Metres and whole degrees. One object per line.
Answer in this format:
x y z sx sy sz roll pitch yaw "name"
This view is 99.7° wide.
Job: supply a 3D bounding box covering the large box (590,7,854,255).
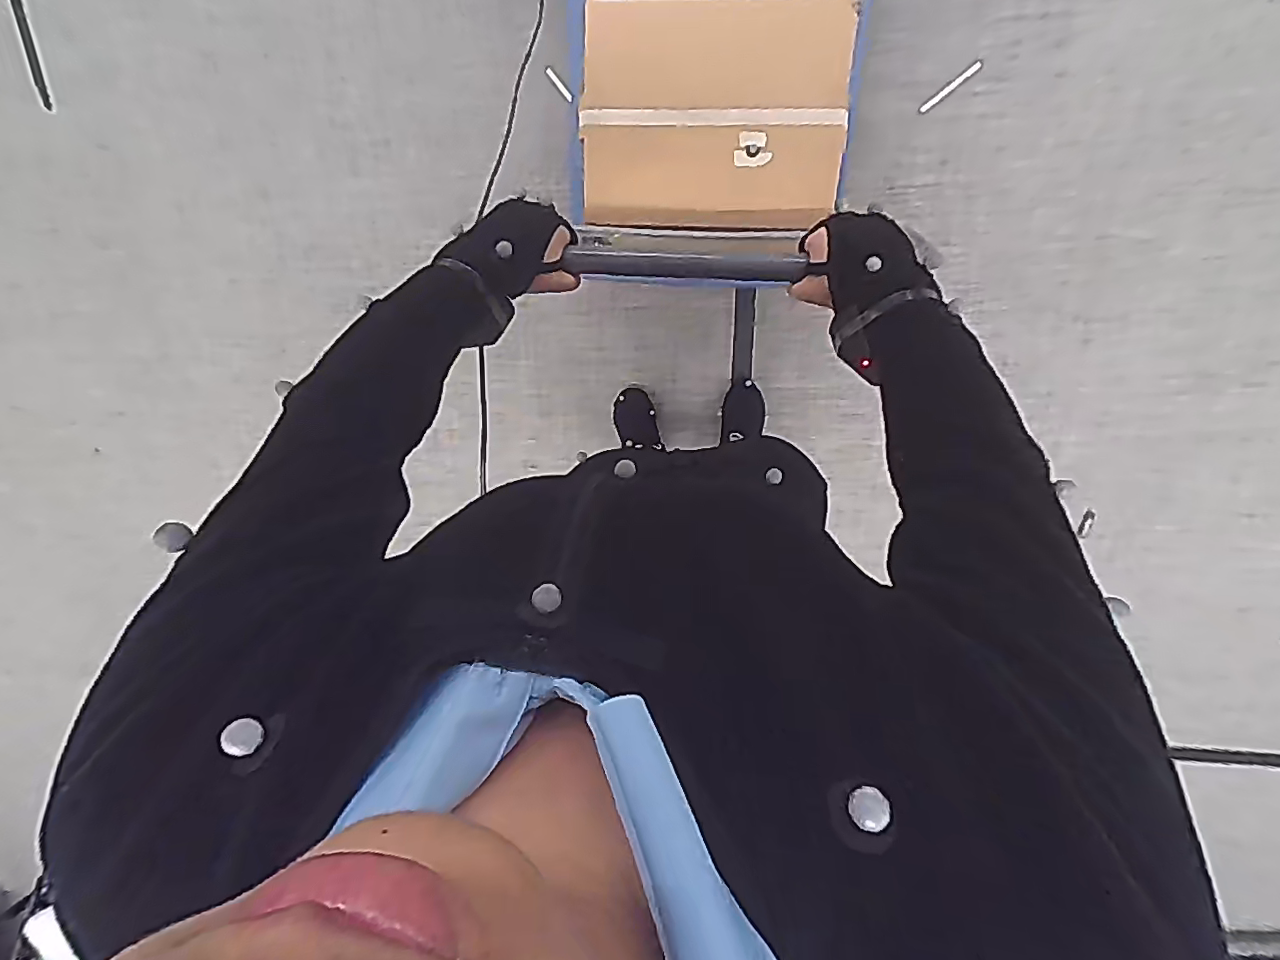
0.130 -0.600 0.999 0.408 0.320 0.320 3 107 5 "large box"
